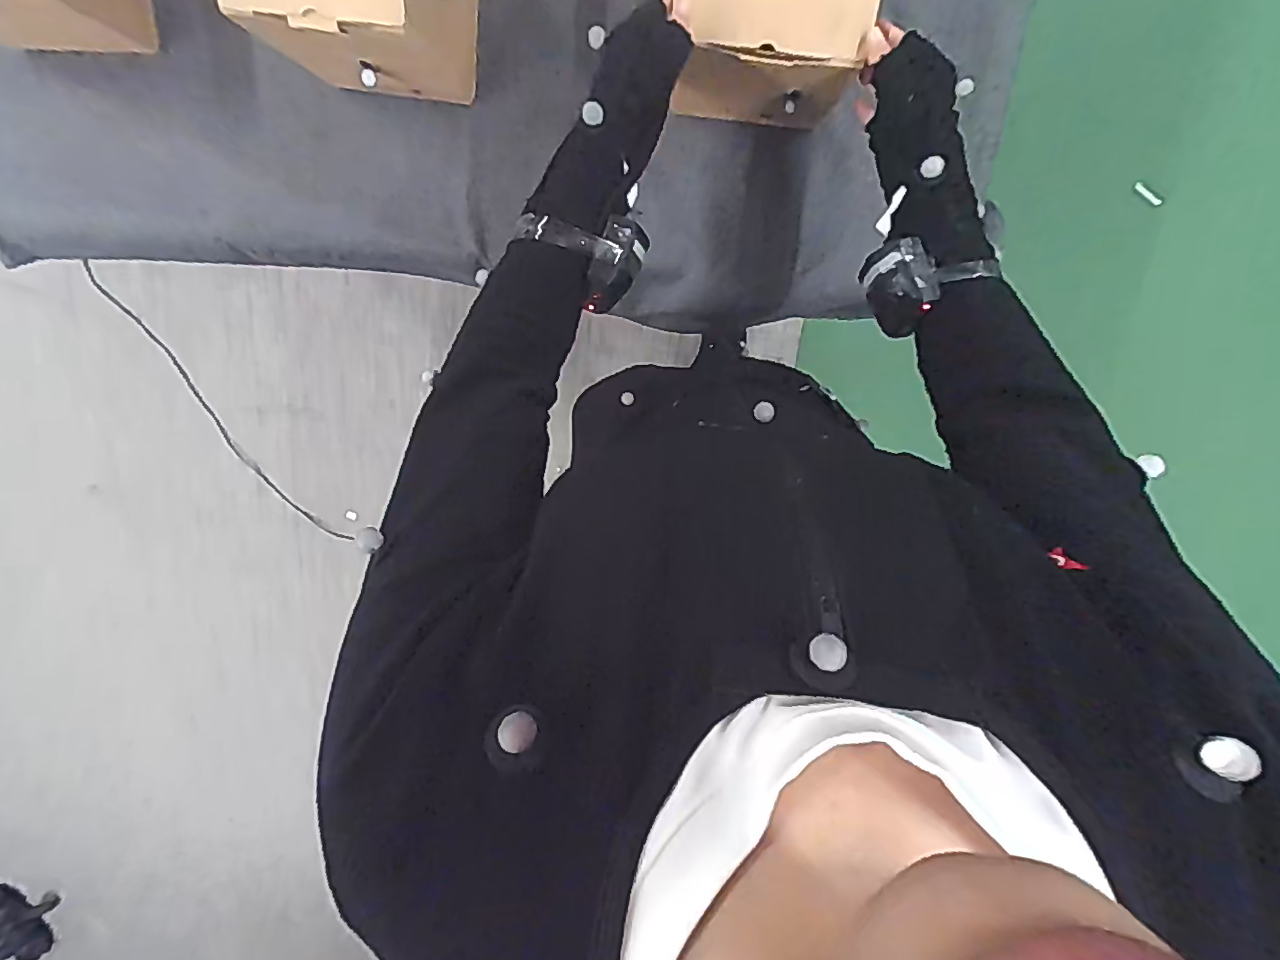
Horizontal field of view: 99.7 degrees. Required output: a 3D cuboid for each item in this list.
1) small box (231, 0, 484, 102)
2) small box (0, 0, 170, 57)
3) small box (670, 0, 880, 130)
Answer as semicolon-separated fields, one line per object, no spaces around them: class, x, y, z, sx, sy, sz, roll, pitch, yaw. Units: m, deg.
small box;-0.255;-0.491;0.514;0.168;0.176;0.179;8;108;2
small box;-0.621;-0.543;0.523;0.179;0.176;0.168;3;108;2
small box;0.122;-0.452;0.500;0.168;0.176;0.179;7;106;1
